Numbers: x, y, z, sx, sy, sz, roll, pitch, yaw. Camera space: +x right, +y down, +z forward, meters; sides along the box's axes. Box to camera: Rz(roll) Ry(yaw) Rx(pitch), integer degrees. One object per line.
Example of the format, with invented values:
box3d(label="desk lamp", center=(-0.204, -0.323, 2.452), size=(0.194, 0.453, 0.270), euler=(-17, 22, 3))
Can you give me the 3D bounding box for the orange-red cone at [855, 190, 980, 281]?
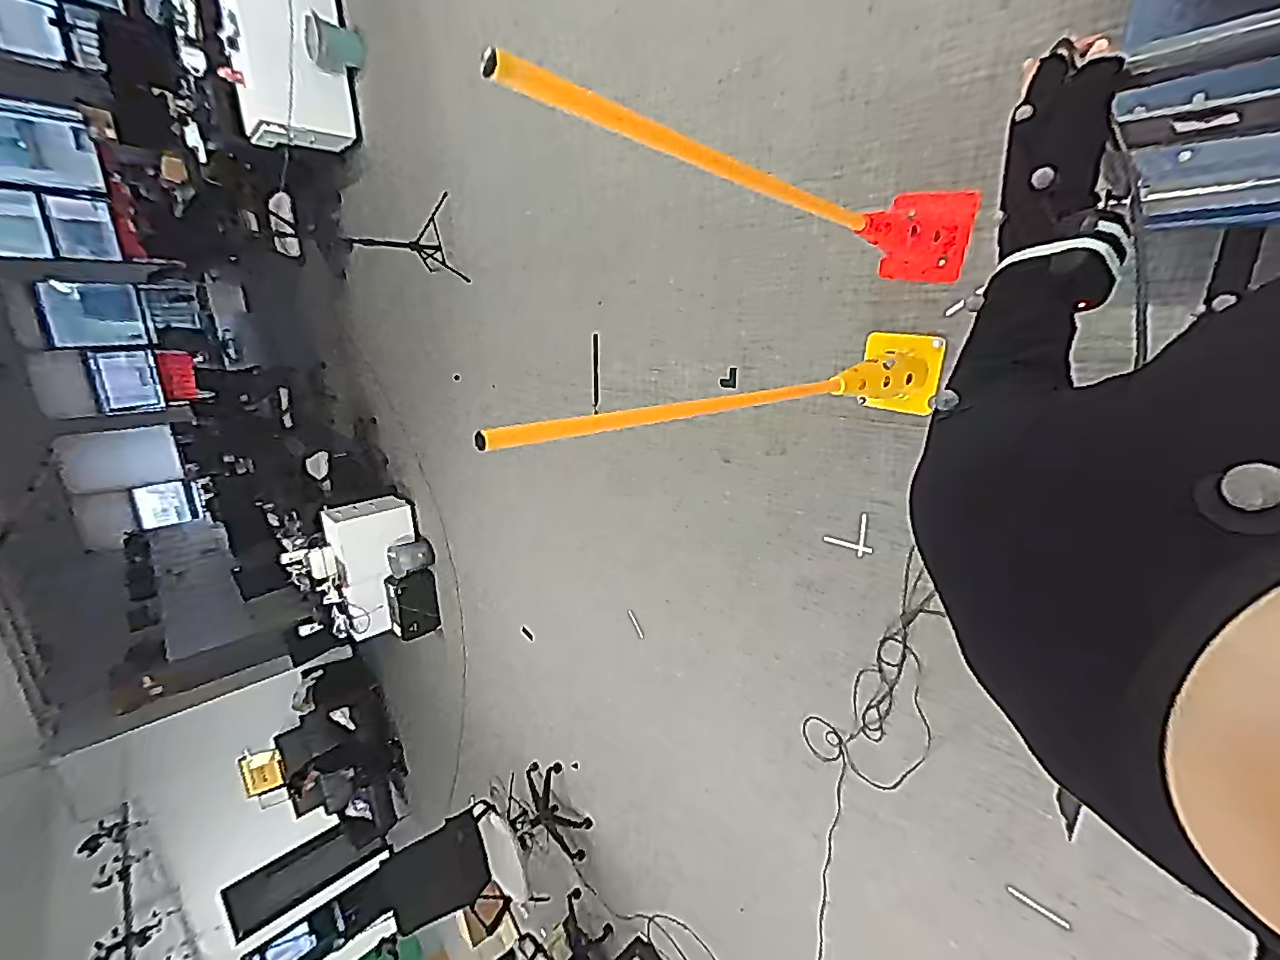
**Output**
box3d(label="orange-red cone", center=(0.573, -0.562, 1.202), size=(0.198, 0.360, 0.199), euler=(26, 119, 40))
